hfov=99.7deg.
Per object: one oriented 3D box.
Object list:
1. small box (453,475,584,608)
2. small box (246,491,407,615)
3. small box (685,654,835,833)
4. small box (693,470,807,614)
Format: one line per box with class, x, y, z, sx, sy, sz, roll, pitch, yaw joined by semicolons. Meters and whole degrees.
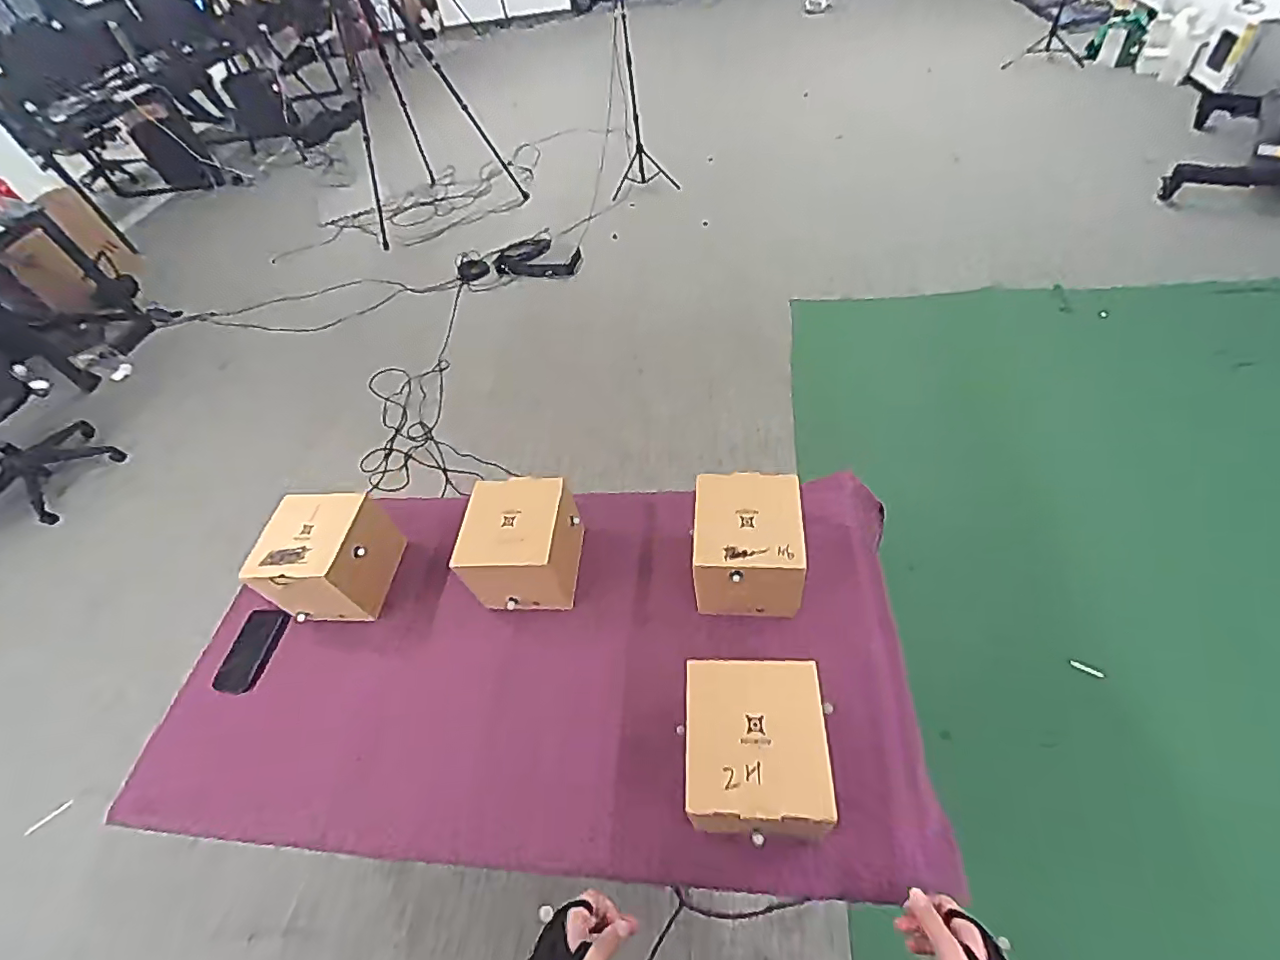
small box;-0.203;0.111;0.964;0.168;0.176;0.179;-2;52;10
small box;-0.565;0.141;1.007;0.168;0.176;0.179;-2;51;9
small box;0.150;0.344;0.706;0.168;0.176;0.179;-3;52;10
small box;0.180;0.102;0.897;0.168;0.176;0.179;-1;52;11
